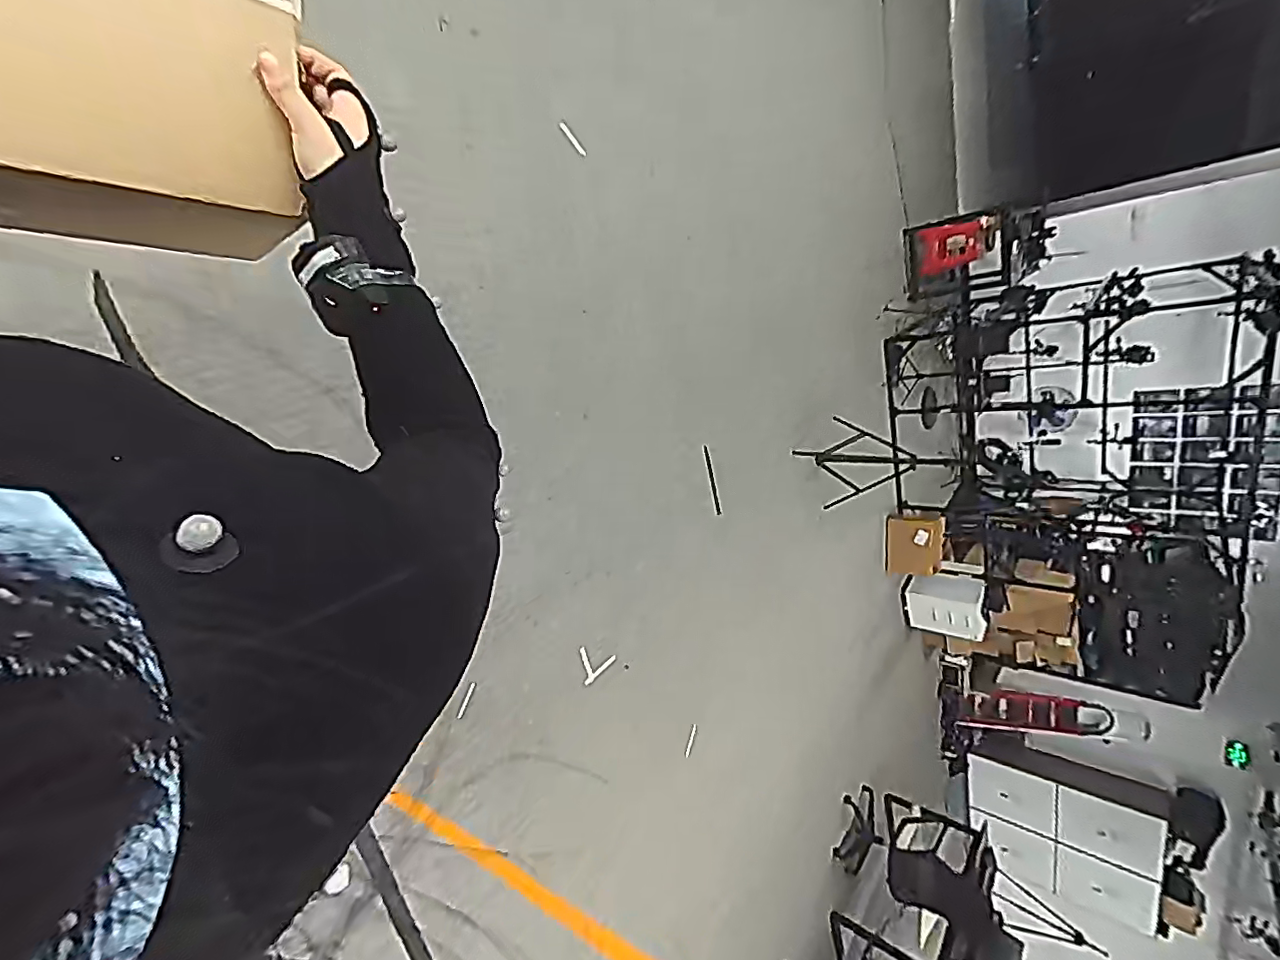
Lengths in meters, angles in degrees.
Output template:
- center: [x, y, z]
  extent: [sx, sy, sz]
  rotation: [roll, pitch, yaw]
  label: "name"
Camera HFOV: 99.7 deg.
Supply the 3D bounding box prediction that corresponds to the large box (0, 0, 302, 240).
- center: [-0.525, -0.388, 0.404]
  extent: [0.408, 0.320, 0.320]
  rotation: [-8, 106, -40]
  label: "large box"
